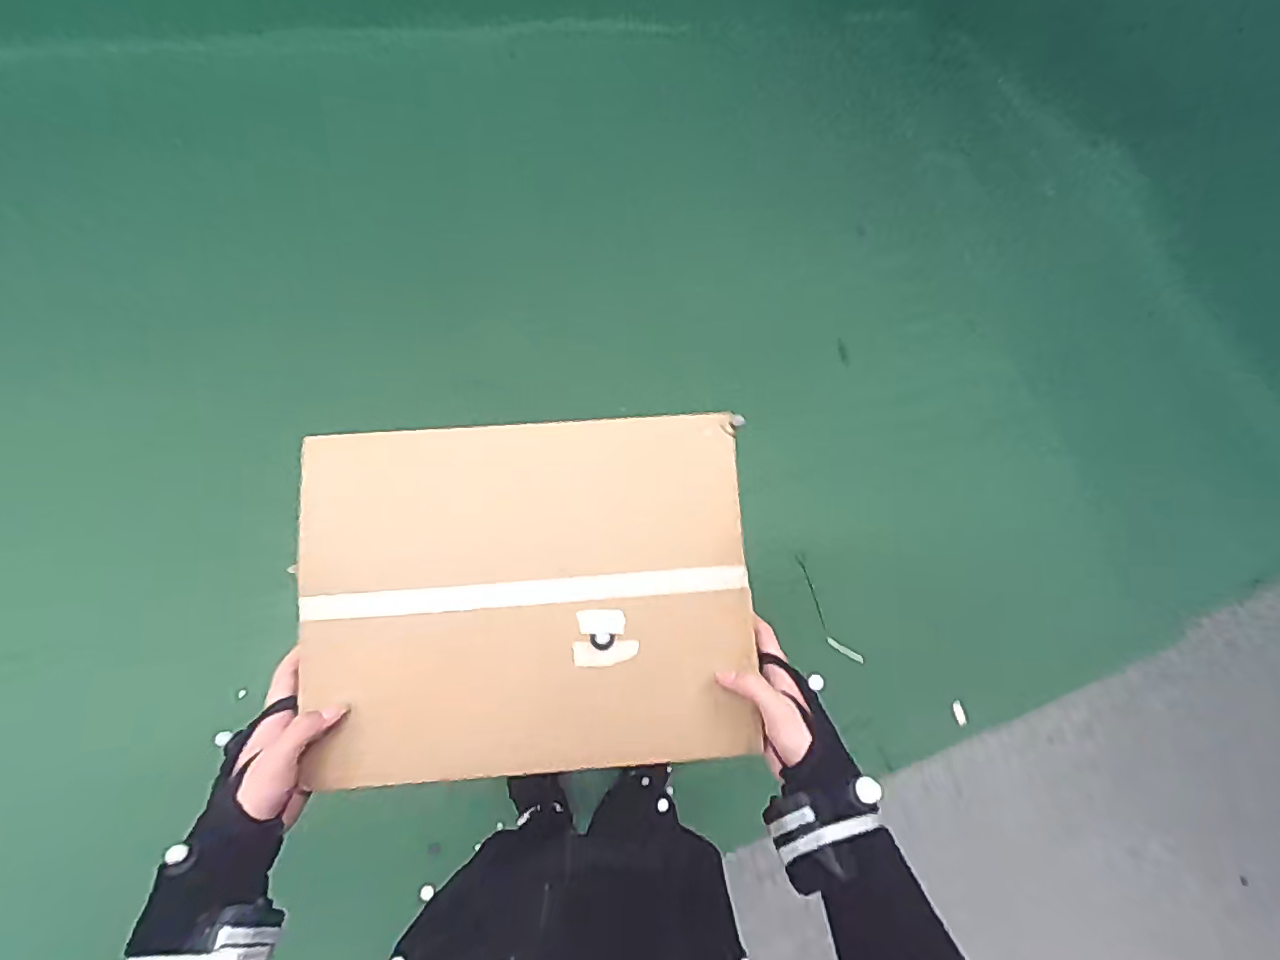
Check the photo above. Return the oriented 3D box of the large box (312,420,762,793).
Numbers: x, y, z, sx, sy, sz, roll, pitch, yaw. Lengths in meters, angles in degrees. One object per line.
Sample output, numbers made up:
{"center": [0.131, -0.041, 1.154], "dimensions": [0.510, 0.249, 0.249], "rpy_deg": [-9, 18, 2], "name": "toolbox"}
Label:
{"center": [-0.106, 0.129, 0.646], "dimensions": [0.408, 0.320, 0.320], "rpy_deg": [-4, 83, -3], "name": "large box"}
